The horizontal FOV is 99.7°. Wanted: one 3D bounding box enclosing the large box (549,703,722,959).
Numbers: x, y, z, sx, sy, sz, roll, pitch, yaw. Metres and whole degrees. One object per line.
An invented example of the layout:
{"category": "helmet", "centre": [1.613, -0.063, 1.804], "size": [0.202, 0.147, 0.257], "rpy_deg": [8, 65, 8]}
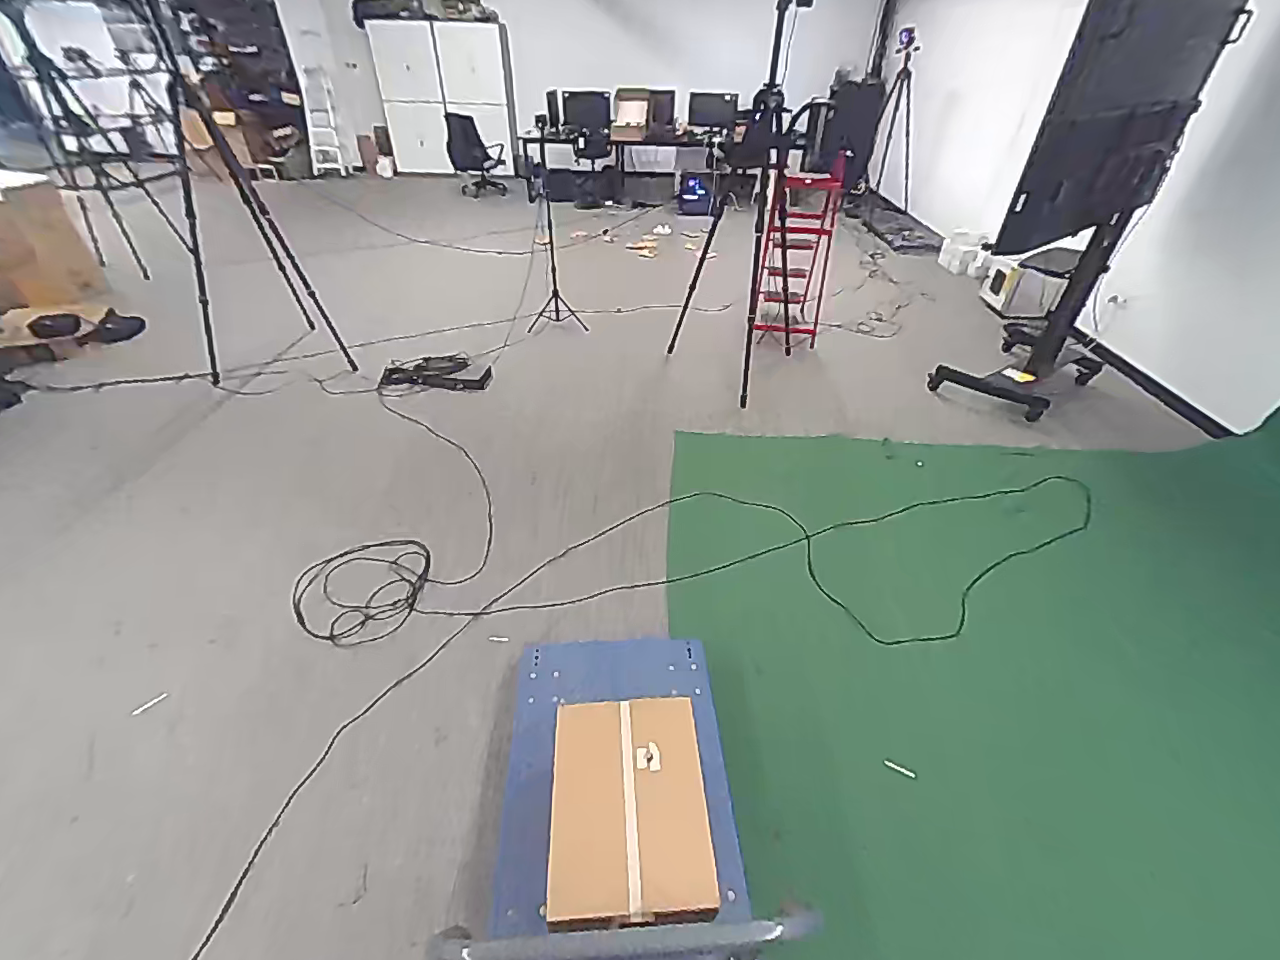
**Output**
{"category": "large box", "centre": [-0.023, 0.768, 1.191], "size": [0.320, 0.320, 0.408], "rpy_deg": [-1, 37, -4]}
